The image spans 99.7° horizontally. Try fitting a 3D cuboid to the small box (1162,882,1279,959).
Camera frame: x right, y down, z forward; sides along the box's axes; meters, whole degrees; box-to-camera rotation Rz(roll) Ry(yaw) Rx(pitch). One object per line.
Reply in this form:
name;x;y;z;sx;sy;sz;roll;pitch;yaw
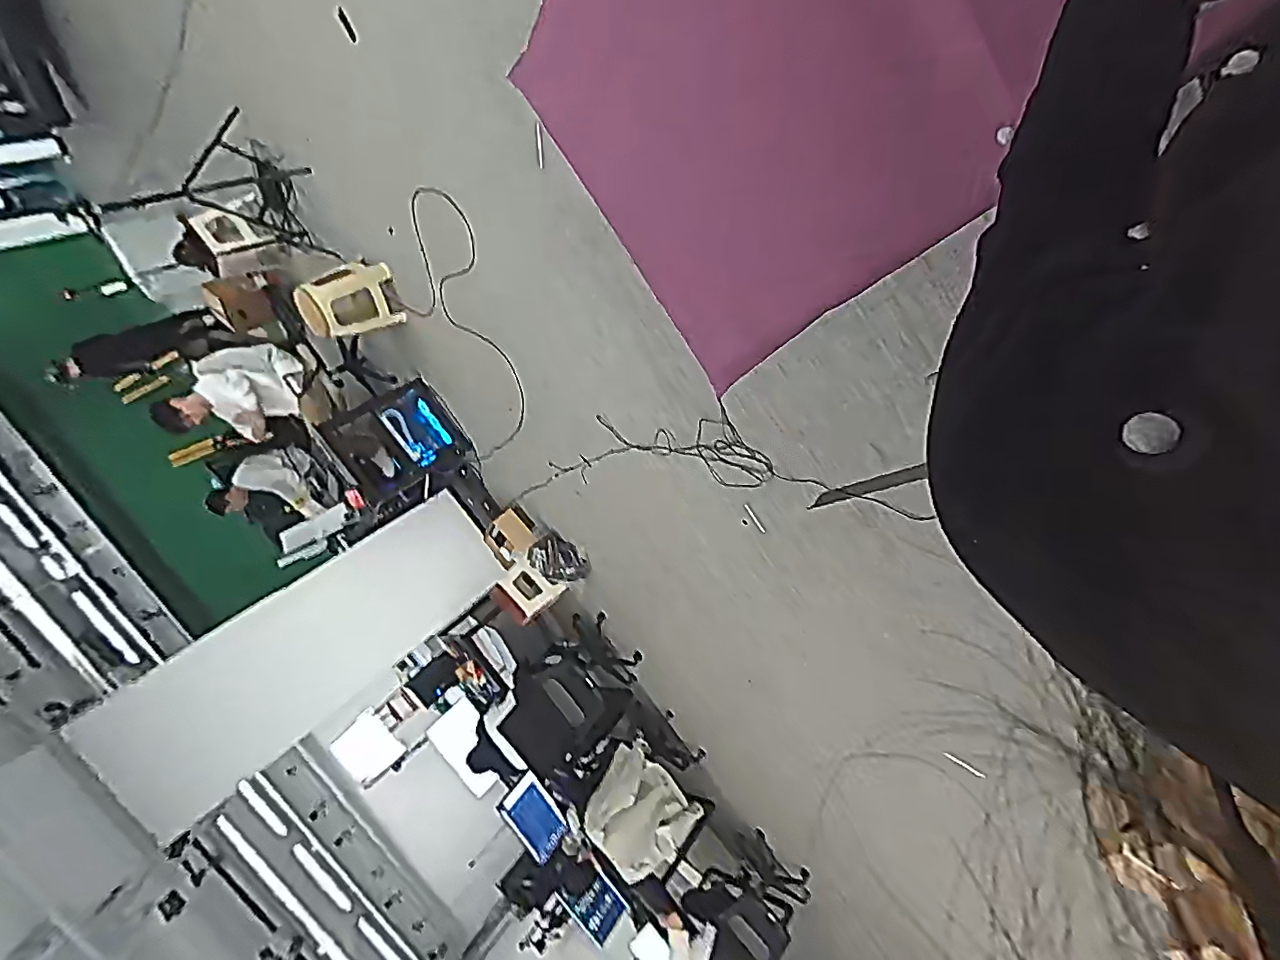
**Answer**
small box;1.471;1.157;1.359;0.168;0.176;0.179;32;141;25
